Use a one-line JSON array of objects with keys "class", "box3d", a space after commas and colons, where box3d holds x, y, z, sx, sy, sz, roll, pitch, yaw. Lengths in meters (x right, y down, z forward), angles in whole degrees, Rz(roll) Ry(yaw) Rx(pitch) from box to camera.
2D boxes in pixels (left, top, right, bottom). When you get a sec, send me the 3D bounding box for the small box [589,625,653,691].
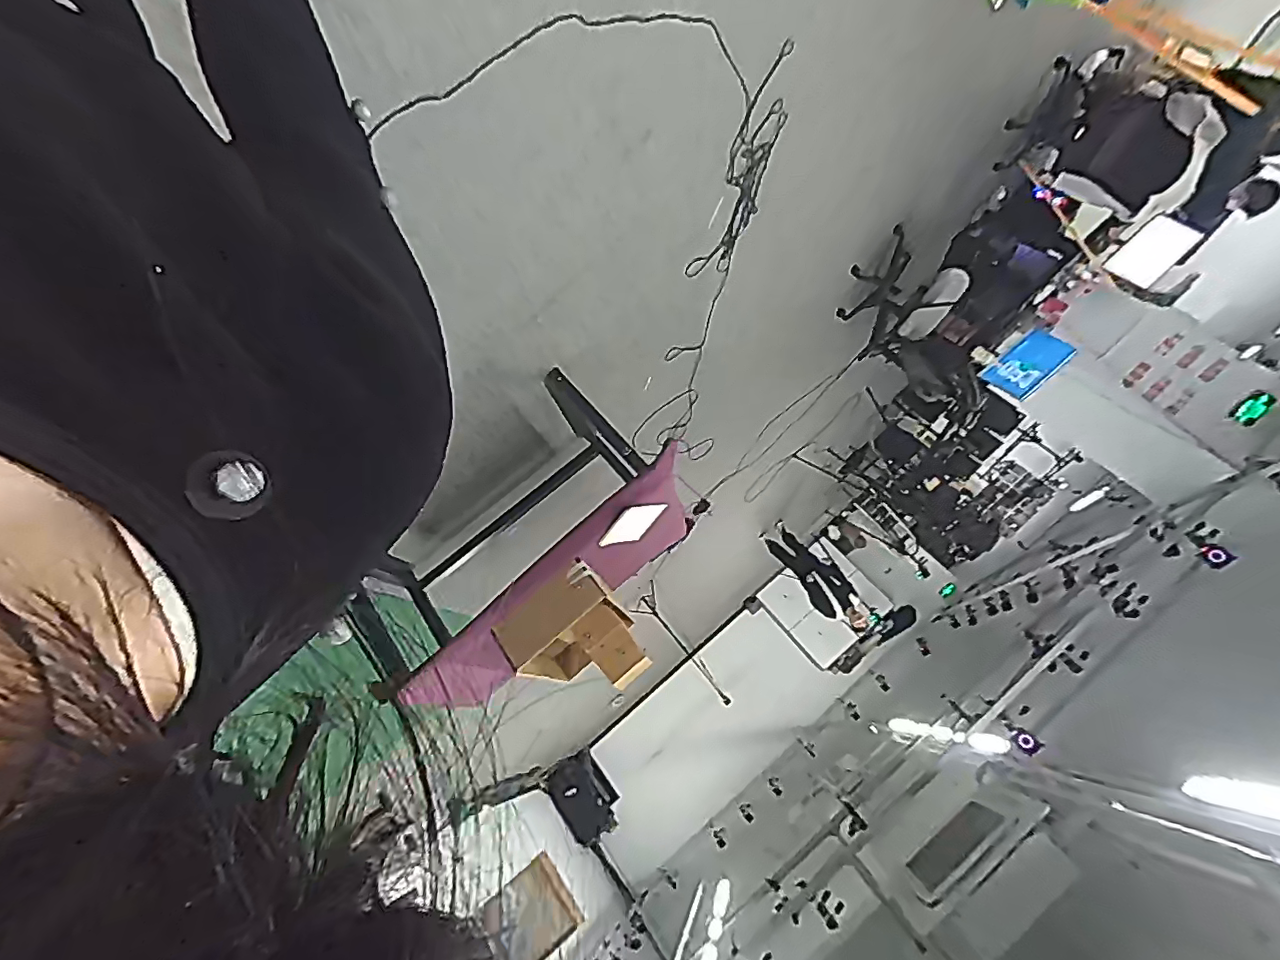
[{"class": "small box", "box3d": [-0.075, 0.690, 2.101, 0.168, 0.176, 0.179, -39, 154, -9]}]
